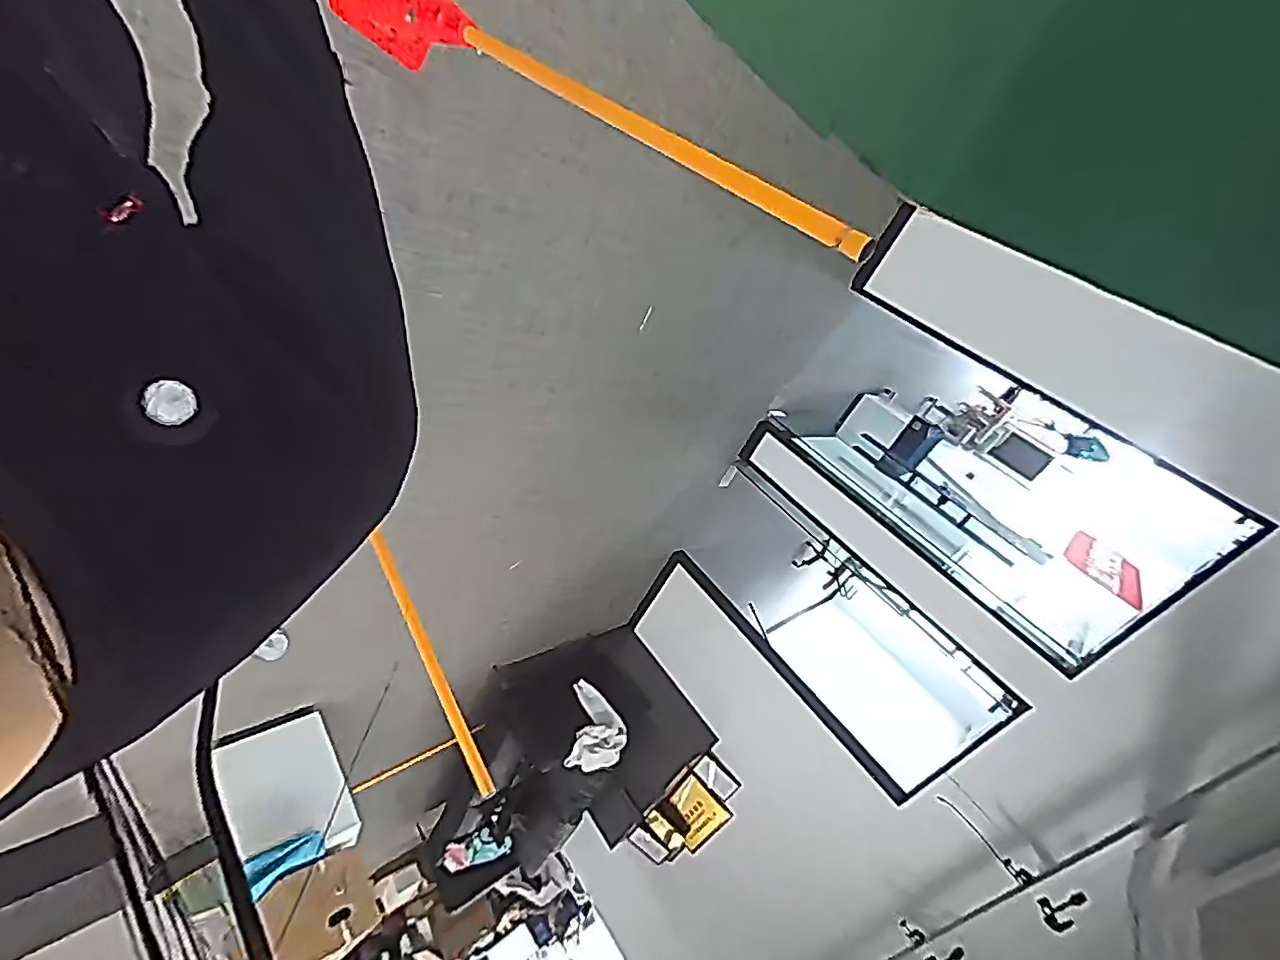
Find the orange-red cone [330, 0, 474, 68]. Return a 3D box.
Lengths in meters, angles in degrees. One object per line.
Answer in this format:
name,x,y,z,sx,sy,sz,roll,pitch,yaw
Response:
orange-red cone,-0.404,-0.880,1.015,0.199,0.360,0.198,-52,149,18
